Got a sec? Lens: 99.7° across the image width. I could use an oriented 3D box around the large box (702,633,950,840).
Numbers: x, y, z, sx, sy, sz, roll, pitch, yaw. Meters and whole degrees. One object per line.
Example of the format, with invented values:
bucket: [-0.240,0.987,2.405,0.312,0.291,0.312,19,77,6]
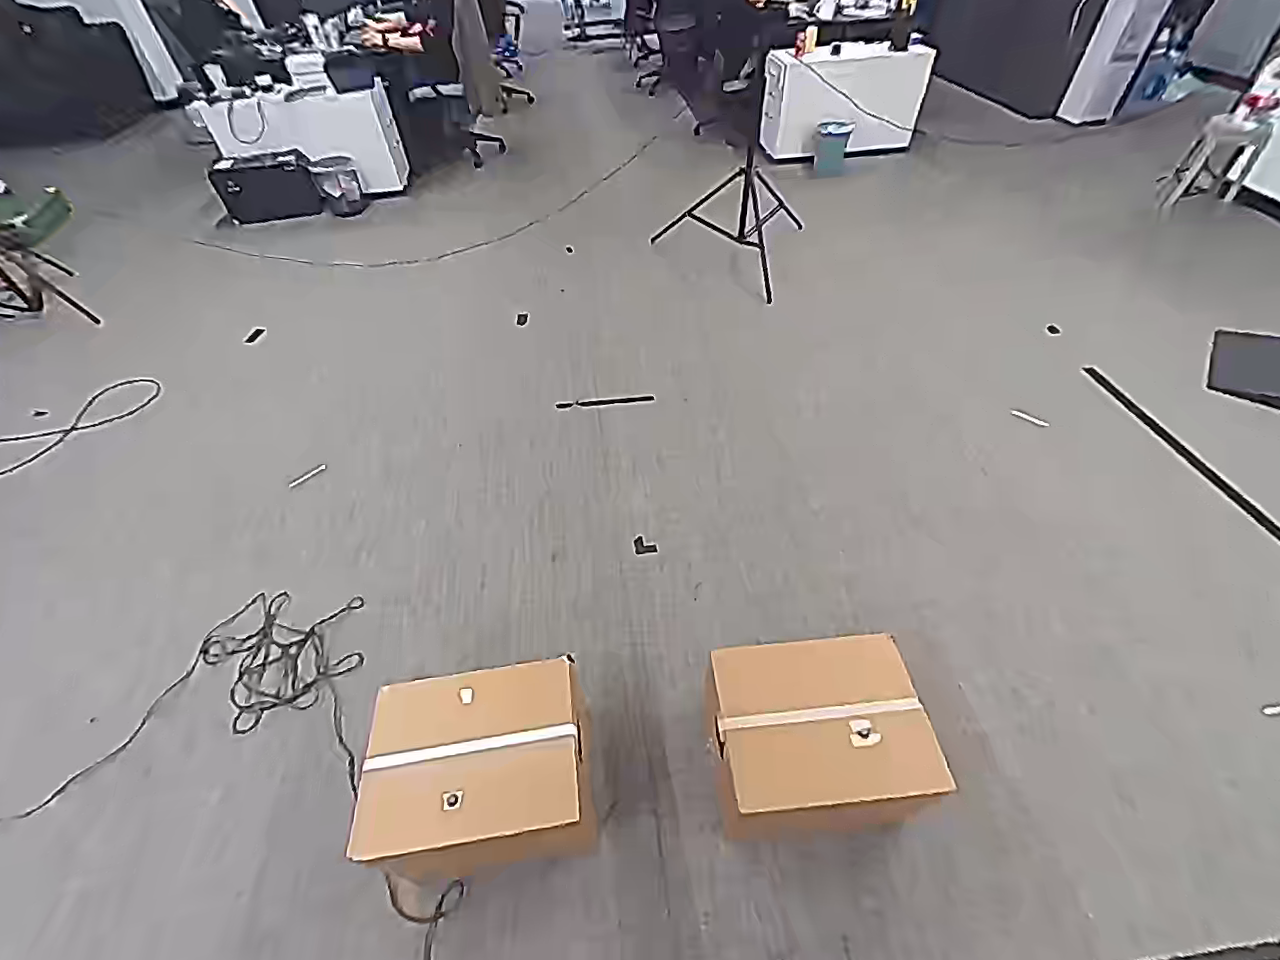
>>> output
large box: [0.368,0.570,1.198,0.408,0.320,0.320,-4,48,-2]
